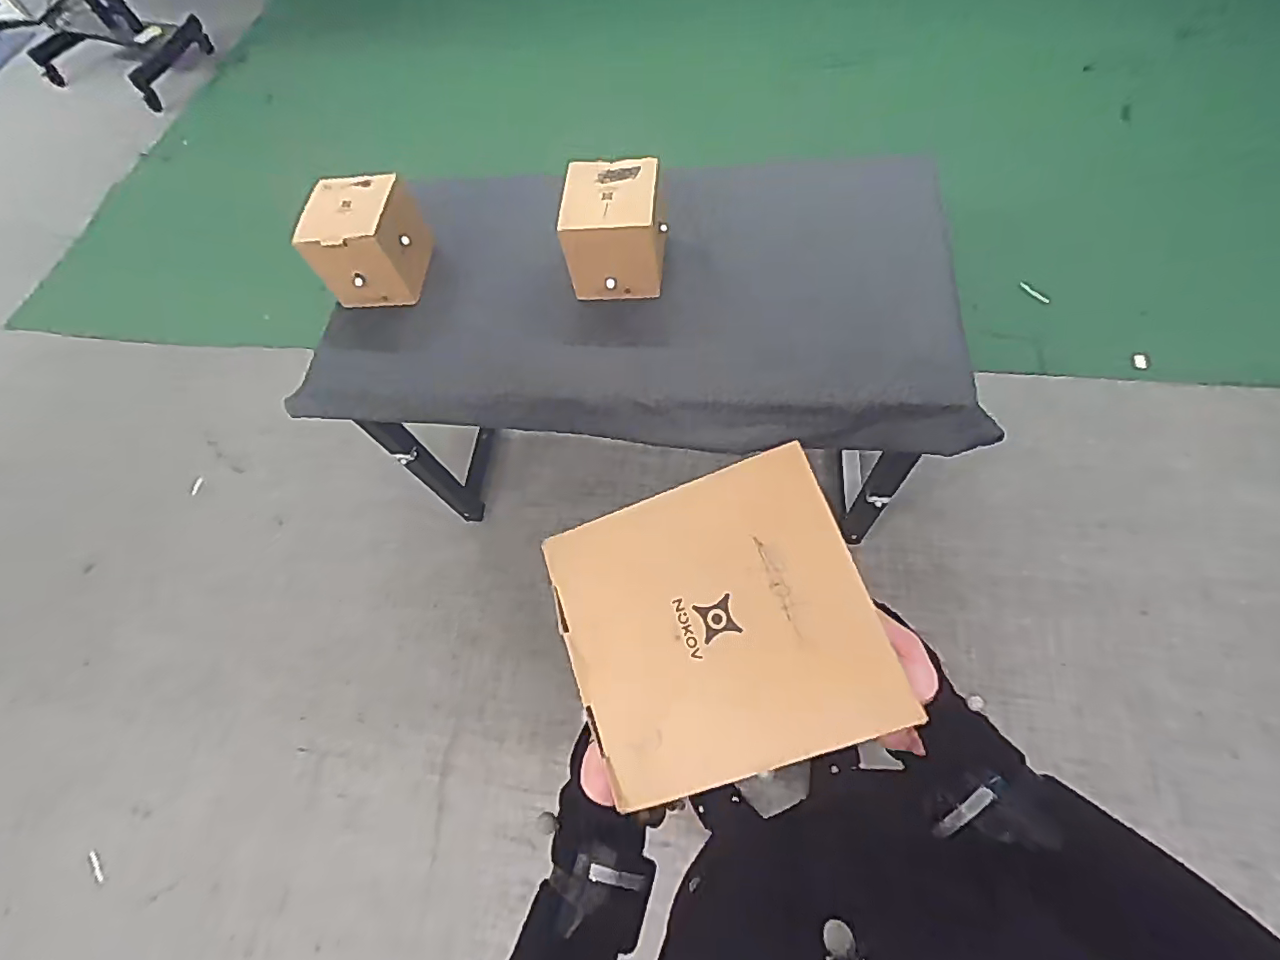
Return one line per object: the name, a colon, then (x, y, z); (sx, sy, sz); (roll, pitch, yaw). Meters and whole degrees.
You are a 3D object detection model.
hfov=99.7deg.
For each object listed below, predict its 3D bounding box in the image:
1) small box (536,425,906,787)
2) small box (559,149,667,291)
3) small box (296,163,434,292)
small box: (0.054, 0.088, 0.390); (0.179, 0.176, 0.168); (-22, 74, 7)
small box: (-0.040, -0.479, 1.008); (0.168, 0.176, 0.179); (2, 66, 9)
small box: (-0.535, -0.494, 1.080); (0.168, 0.176, 0.179); (0, 66, 7)
